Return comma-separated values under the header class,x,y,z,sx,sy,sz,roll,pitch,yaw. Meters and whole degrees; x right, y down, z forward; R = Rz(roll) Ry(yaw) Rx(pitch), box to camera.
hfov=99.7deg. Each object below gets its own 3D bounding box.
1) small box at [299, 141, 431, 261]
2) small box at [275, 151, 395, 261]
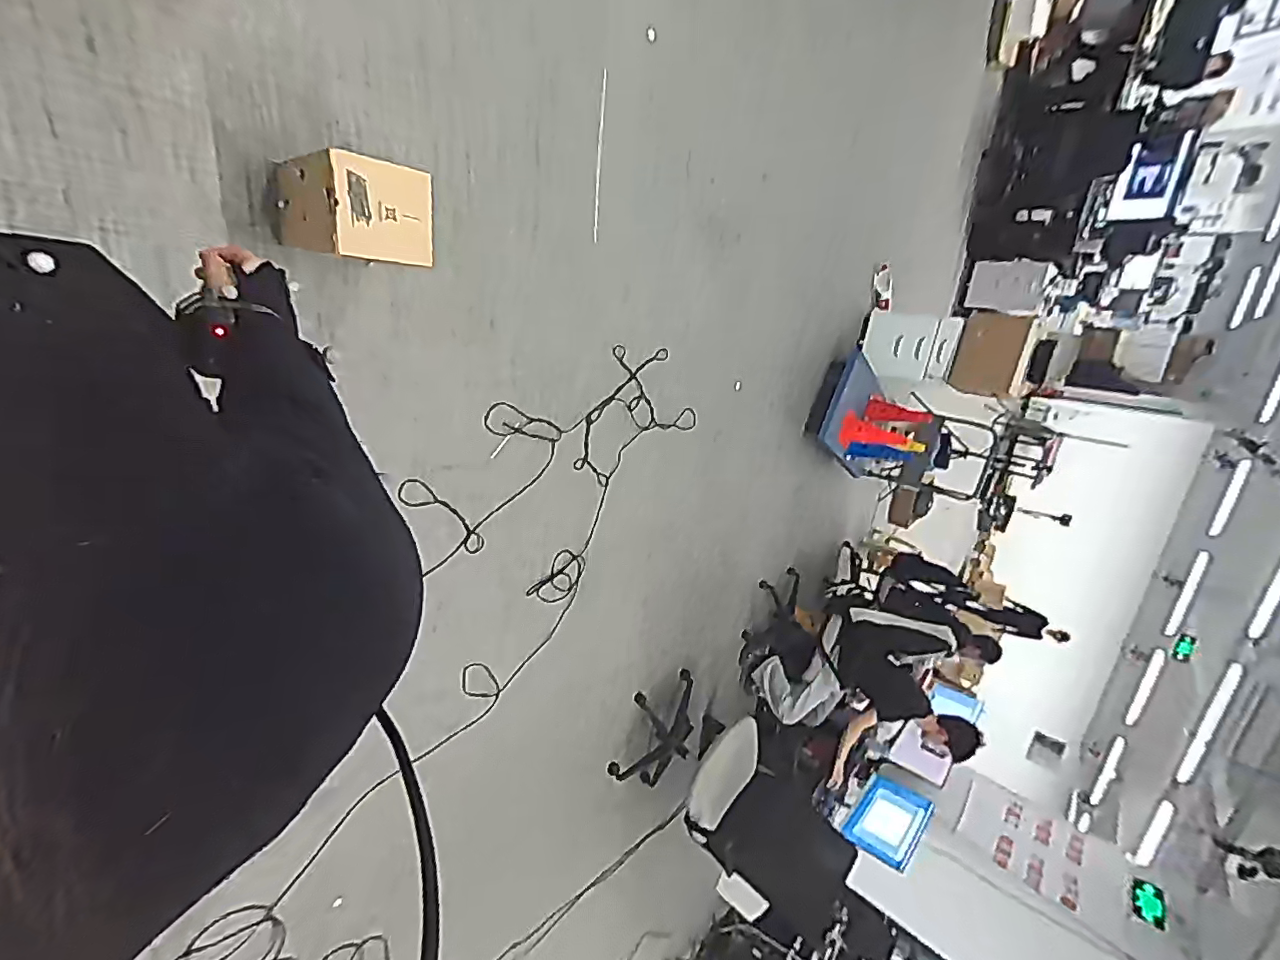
class,x,y,z,sx,sy,sz,roll,pitch,yaw
small box,-0.515,-0.508,1.010,0.179,0.176,0.168,-14,116,-47
small box,-0.627,-0.557,1.120,0.179,0.176,0.168,-11,113,-47
